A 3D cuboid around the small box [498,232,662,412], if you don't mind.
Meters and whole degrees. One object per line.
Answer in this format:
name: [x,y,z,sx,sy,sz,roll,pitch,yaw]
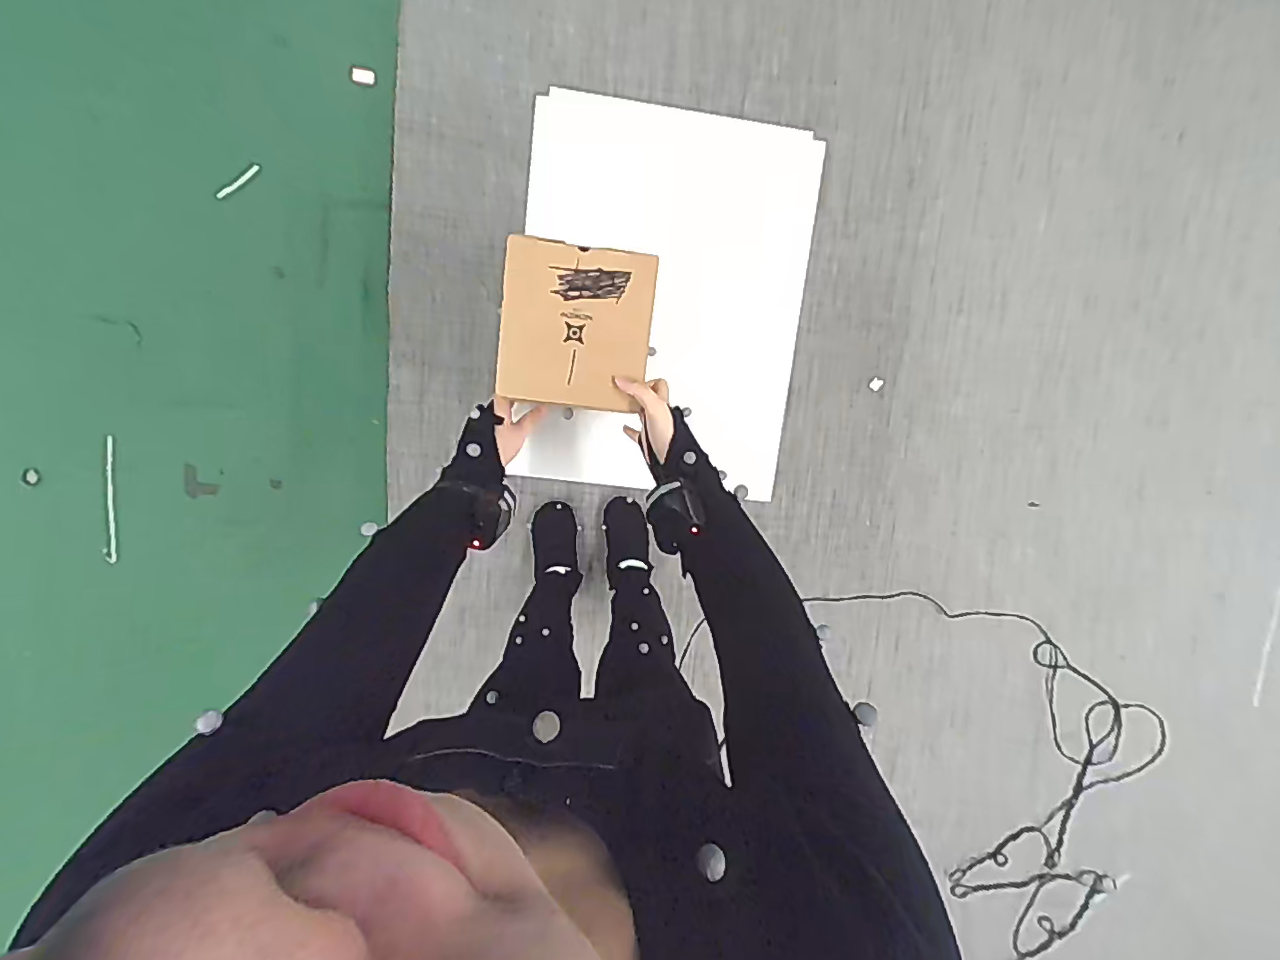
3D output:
small box: [-0.073,-0.182,0.675,0.168,0.176,0.179,6,97,-5]
